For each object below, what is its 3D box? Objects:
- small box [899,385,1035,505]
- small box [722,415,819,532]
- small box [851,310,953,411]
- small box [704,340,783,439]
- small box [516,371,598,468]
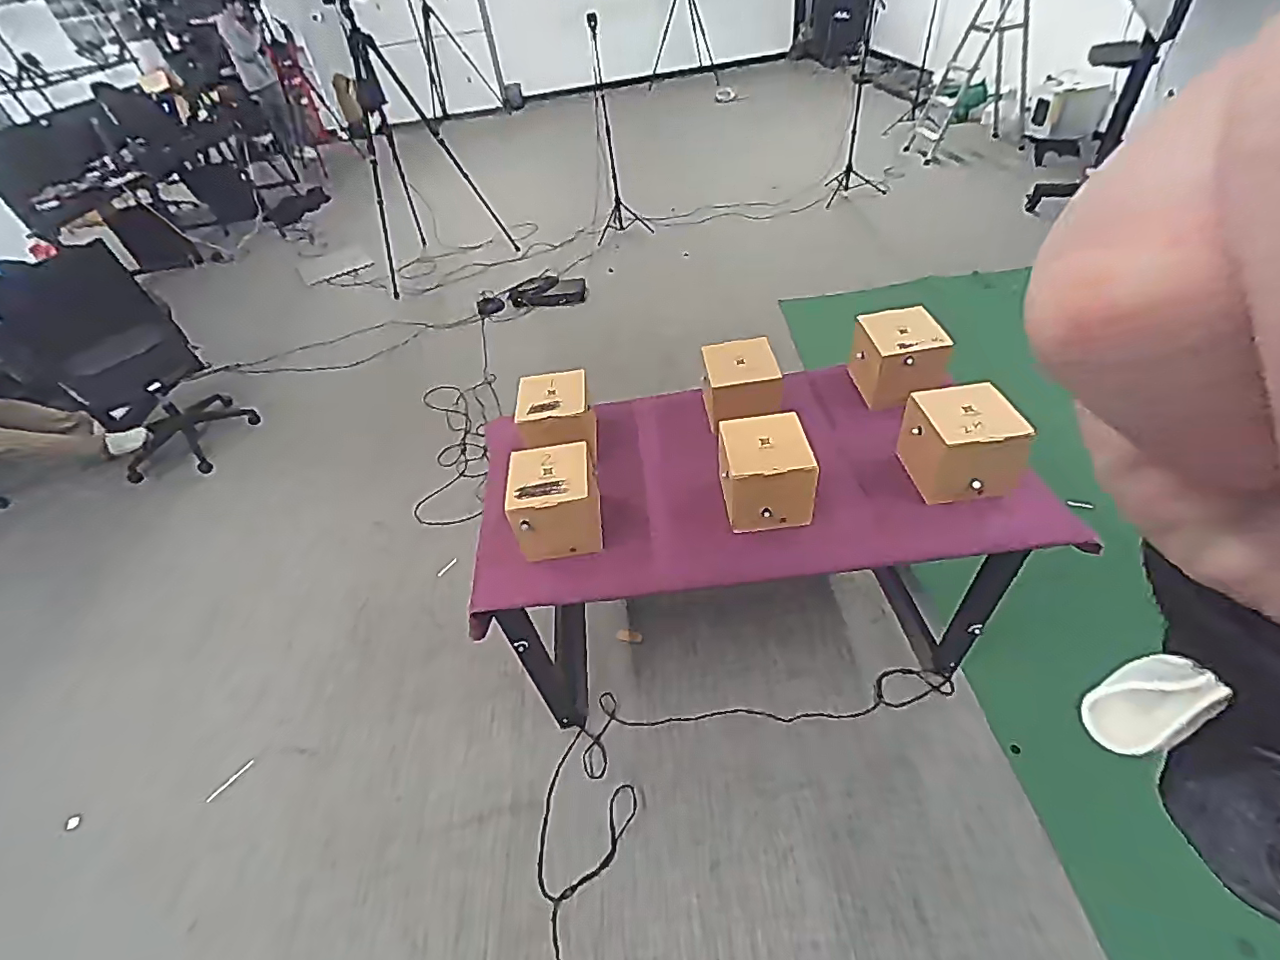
[{"bbox_3d":[0.664,-0.072,1.127,0.168,0.176,0.179,-7,44,4],"label":"small box"},{"bbox_3d":[0.265,-0.012,1.143,0.168,0.176,0.179,-7,44,3],"label":"small box"},{"bbox_3d":[0.644,-0.299,1.355,0.168,0.176,0.179,-9,46,4],"label":"small box"},{"bbox_3d":[0.252,-0.225,1.356,0.168,0.176,0.179,-7,47,3],"label":"small box"},{"bbox_3d":[-0.199,-0.144,1.349,0.168,0.176,0.179,-7,46,2],"label":"small box"}]
